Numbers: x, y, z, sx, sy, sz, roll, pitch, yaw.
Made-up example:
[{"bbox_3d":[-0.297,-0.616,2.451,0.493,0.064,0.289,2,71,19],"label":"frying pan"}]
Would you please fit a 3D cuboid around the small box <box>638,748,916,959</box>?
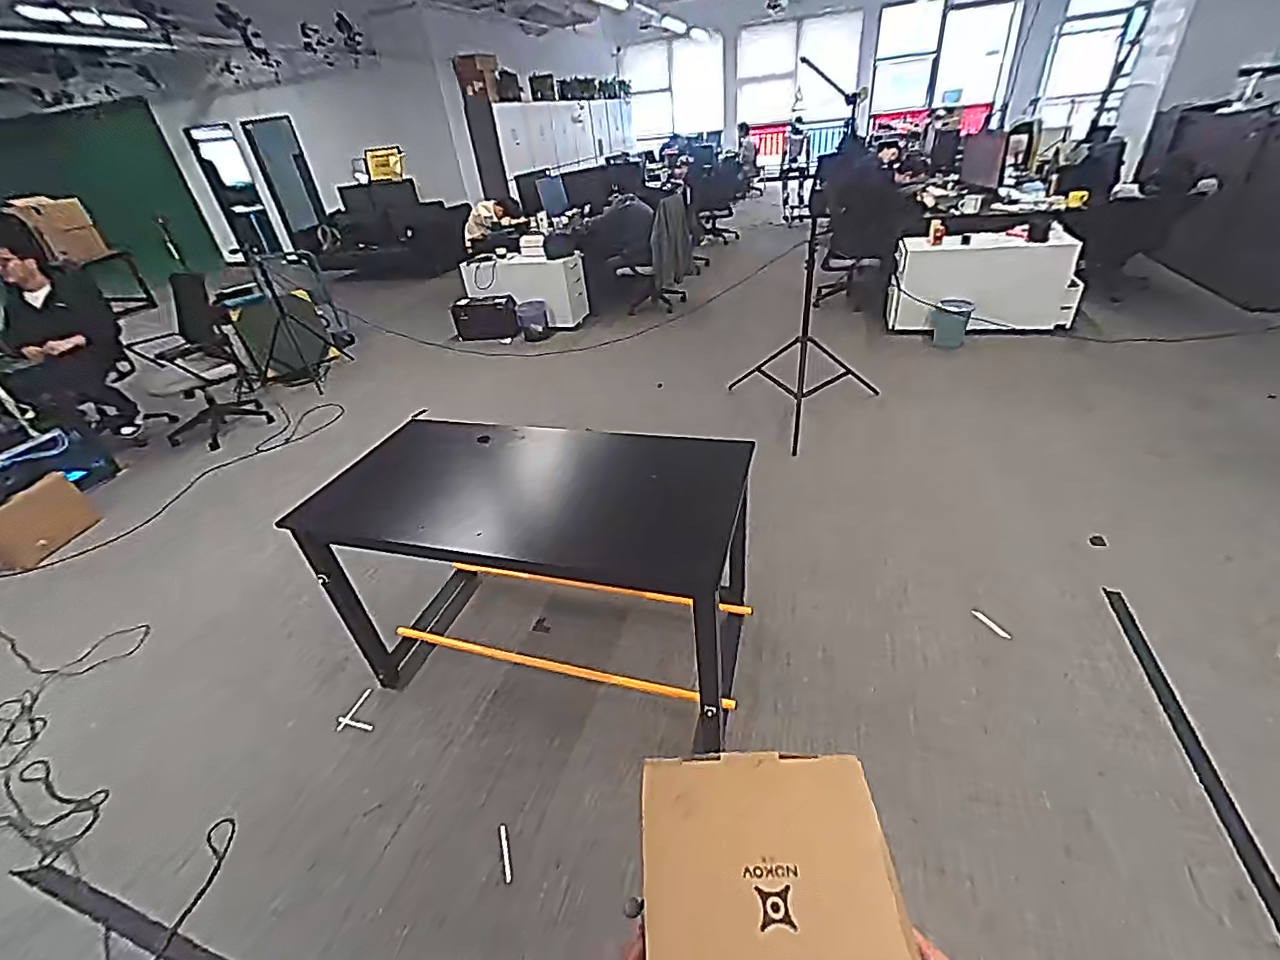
[{"bbox_3d":[0.082,0.323,0.400,0.168,0.176,0.179,-1,42,-1],"label":"small box"}]
